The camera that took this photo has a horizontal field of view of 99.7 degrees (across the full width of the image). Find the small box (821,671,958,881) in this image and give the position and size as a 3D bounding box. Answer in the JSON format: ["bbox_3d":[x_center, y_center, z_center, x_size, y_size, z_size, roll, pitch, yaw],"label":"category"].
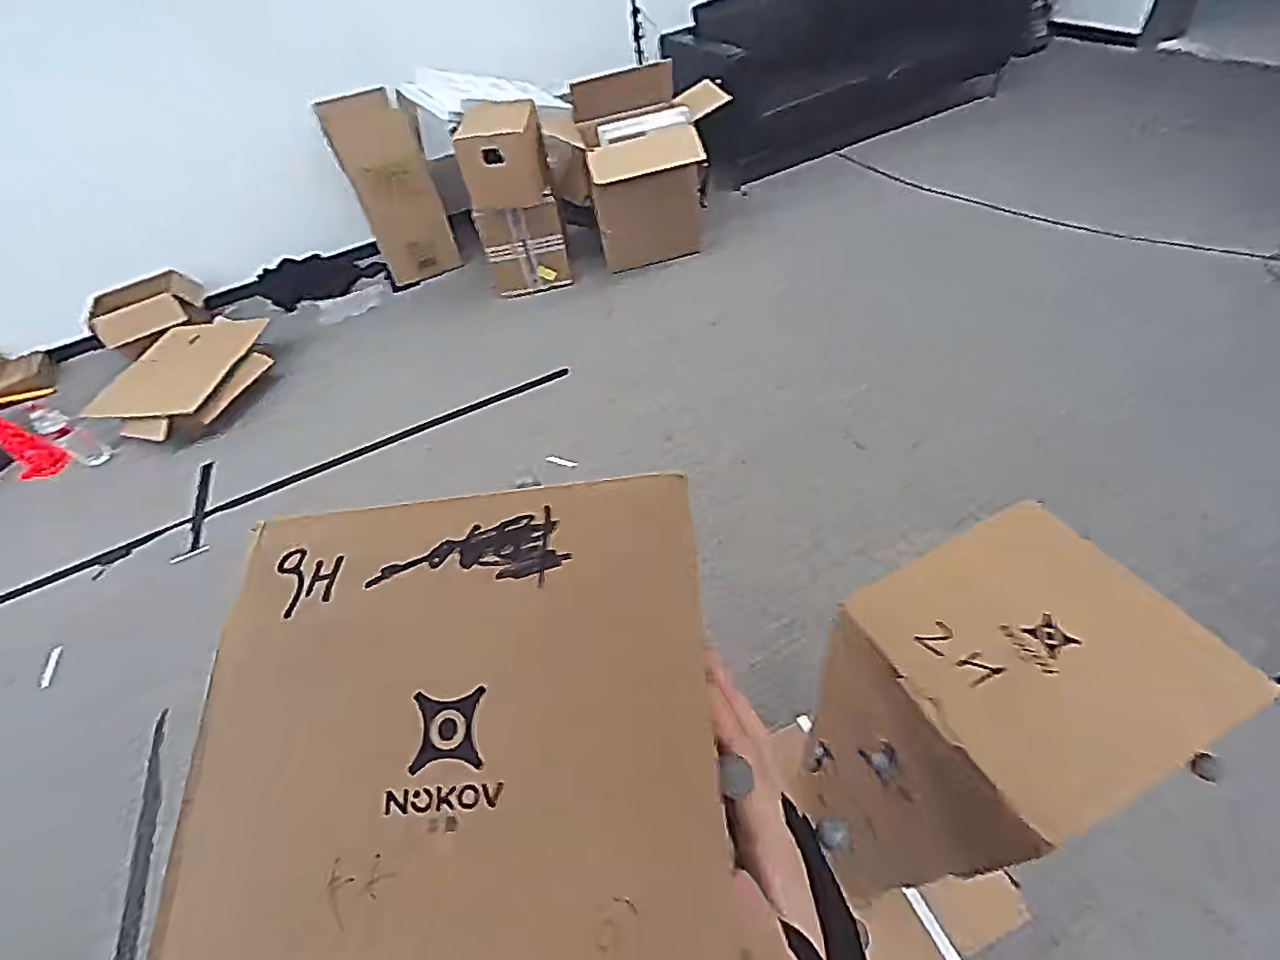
[{"bbox_3d":[0.294,0.258,0.527,0.179,0.176,0.168,-23,50,-8],"label":"small box"}]

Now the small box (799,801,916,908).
[{"bbox_3d":[0.382,0.570,0.894,0.168,0.176,0.179,-26,51,-10],"label":"small box"}]

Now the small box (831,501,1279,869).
[{"bbox_3d":[0.266,0.153,0.402,0.179,0.176,0.168,-26,49,-9],"label":"small box"}]

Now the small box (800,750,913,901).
[{"bbox_3d":[0.348,0.466,0.774,0.179,0.176,0.168,-25,50,-9],"label":"small box"}]
